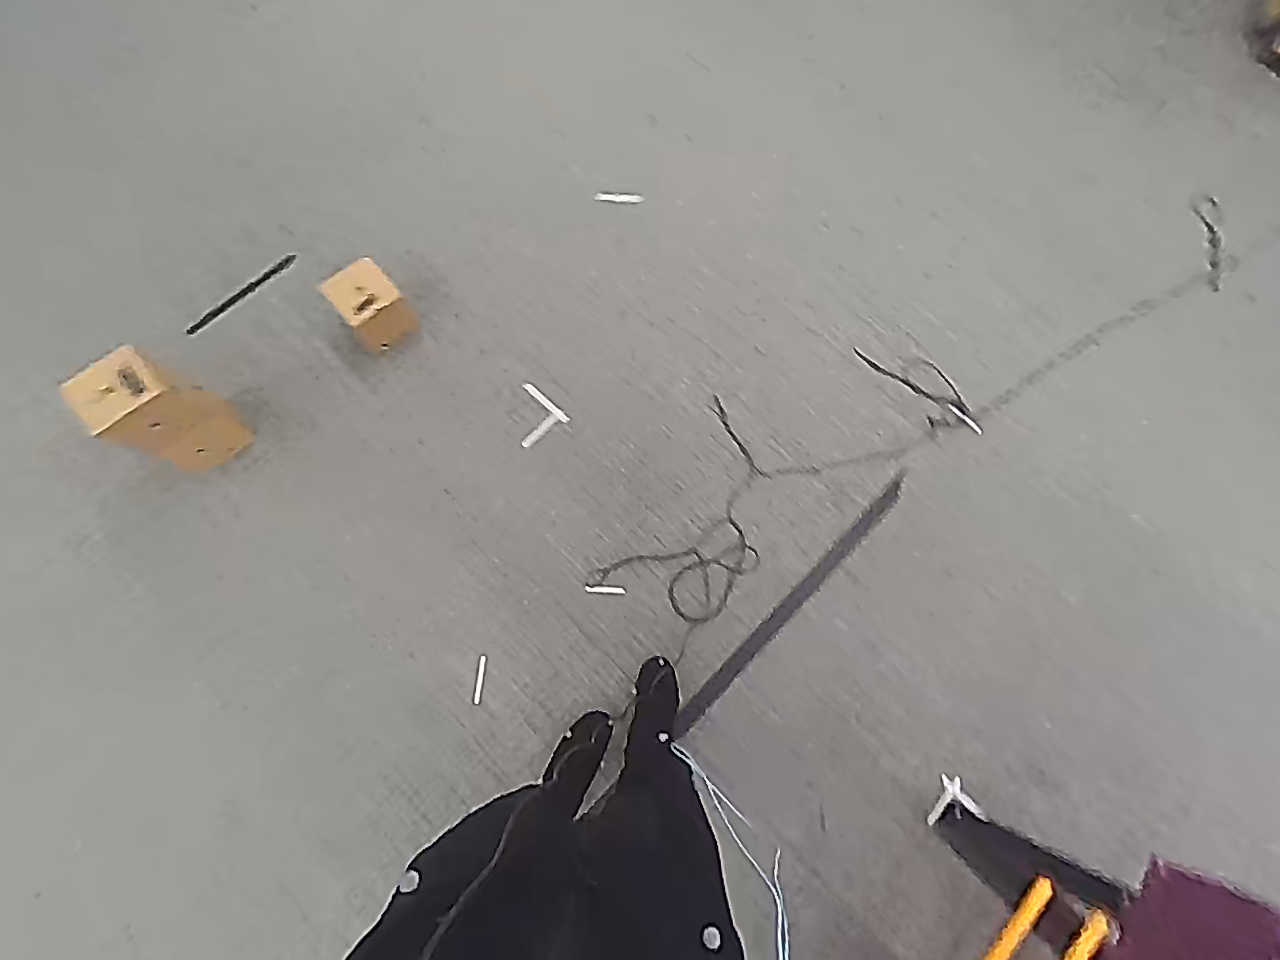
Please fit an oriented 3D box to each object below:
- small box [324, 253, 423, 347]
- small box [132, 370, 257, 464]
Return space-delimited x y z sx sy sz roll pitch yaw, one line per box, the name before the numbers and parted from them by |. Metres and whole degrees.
small box | -0.779 -0.520 1.601 0.168 0.176 0.179 -40 79 -12
small box | -1.212 -0.161 1.487 0.168 0.176 0.179 -42 79 -12
